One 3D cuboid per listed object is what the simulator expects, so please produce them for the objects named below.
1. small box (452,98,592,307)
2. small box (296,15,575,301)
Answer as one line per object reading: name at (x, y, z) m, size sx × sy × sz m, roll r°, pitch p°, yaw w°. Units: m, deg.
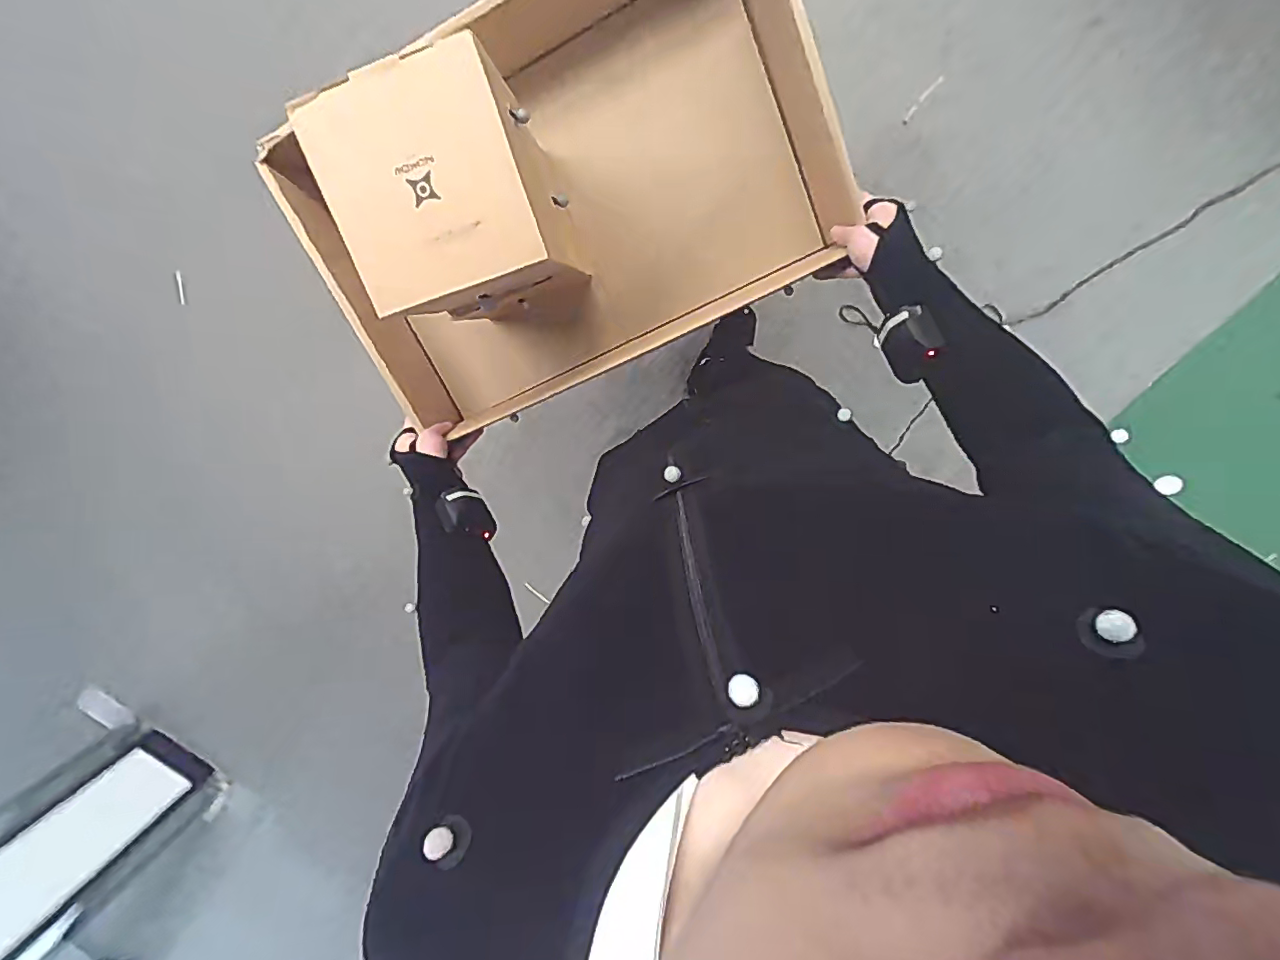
small box at (-0.169, -0.328, 0.678) m, size 0.168 × 0.176 × 0.179 m, roll -20°, pitch 108°, yaw 6°
small box at (-0.172, -0.281, 0.521) m, size 0.168 × 0.176 × 0.179 m, roll -16°, pitch 108°, yaw 6°
